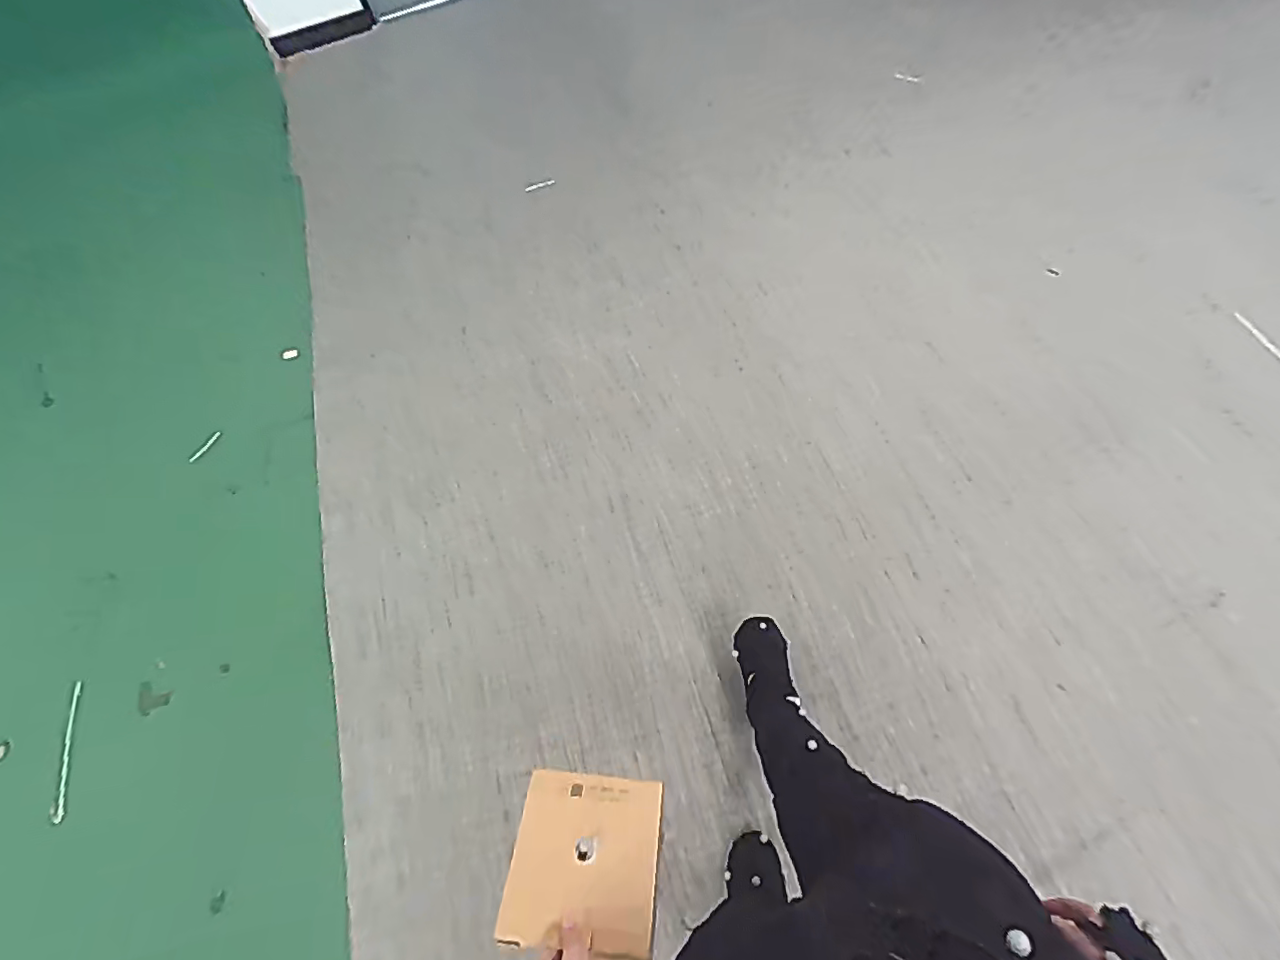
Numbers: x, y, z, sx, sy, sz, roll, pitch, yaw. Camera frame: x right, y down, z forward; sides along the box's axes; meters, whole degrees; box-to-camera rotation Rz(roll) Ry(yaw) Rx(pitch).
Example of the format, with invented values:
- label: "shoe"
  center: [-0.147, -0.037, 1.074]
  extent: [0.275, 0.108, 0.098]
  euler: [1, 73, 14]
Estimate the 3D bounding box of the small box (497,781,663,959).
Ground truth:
- label: "small box"
  center: [-0.060, 0.493, 0.665]
  extent: [0.168, 0.179, 0.176]
  euler: [2, 40, 5]
